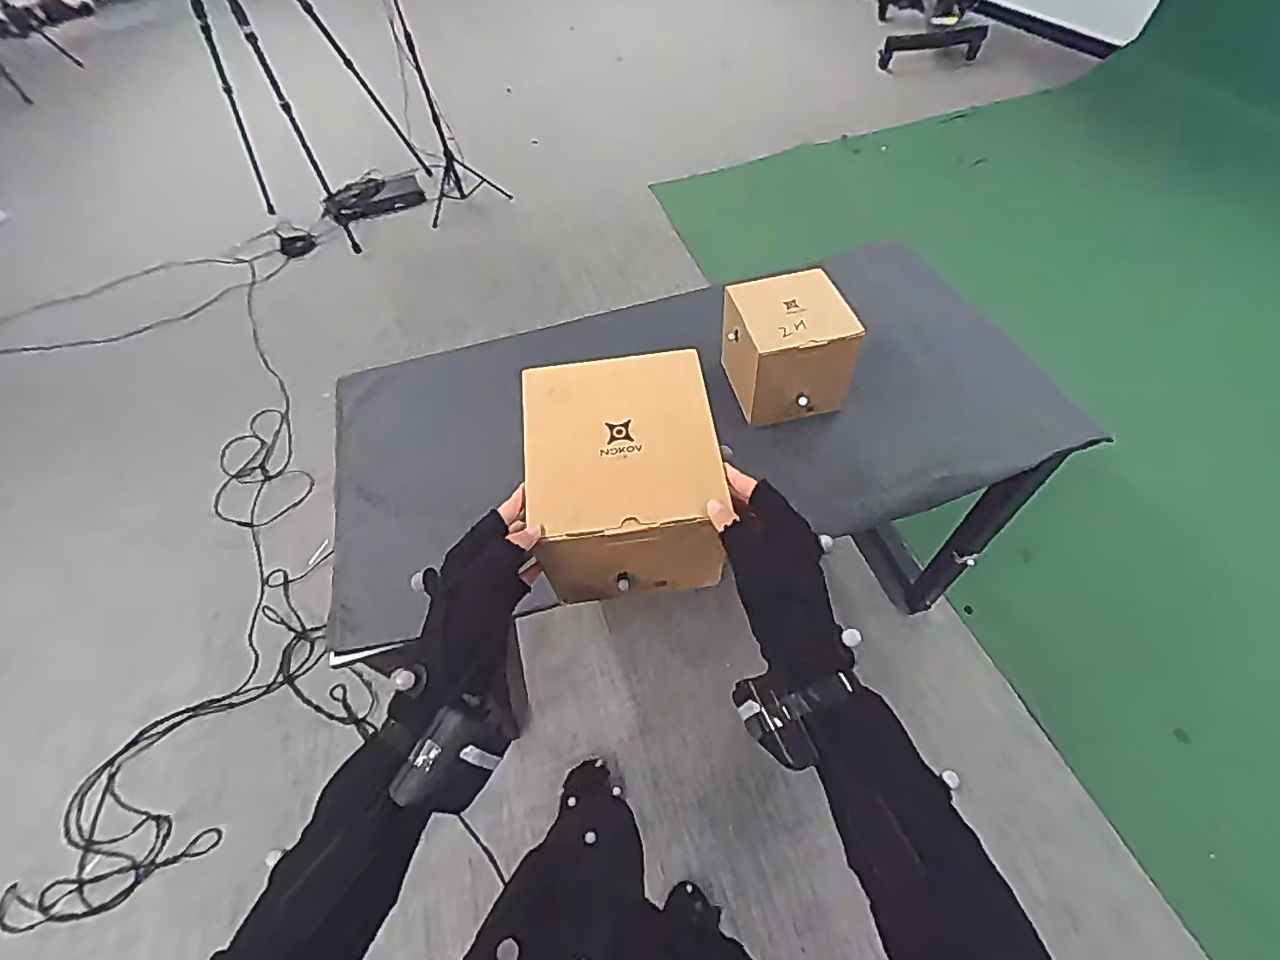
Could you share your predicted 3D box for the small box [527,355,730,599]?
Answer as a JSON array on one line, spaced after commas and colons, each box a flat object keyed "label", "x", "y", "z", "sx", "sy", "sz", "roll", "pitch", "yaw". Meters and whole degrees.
[{"label": "small box", "x": -0.015, "y": 0.003, "z": 0.541, "sx": 0.168, "sy": 0.176, "sz": 0.179, "roll": -7, "pitch": 61, "yaw": -2}]

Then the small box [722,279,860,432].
[{"label": "small box", "x": 0.240, "y": -0.208, "z": 0.914, "sx": 0.168, "sy": 0.176, "sz": 0.179, "roll": -12, "pitch": 54, "yaw": -3}]
